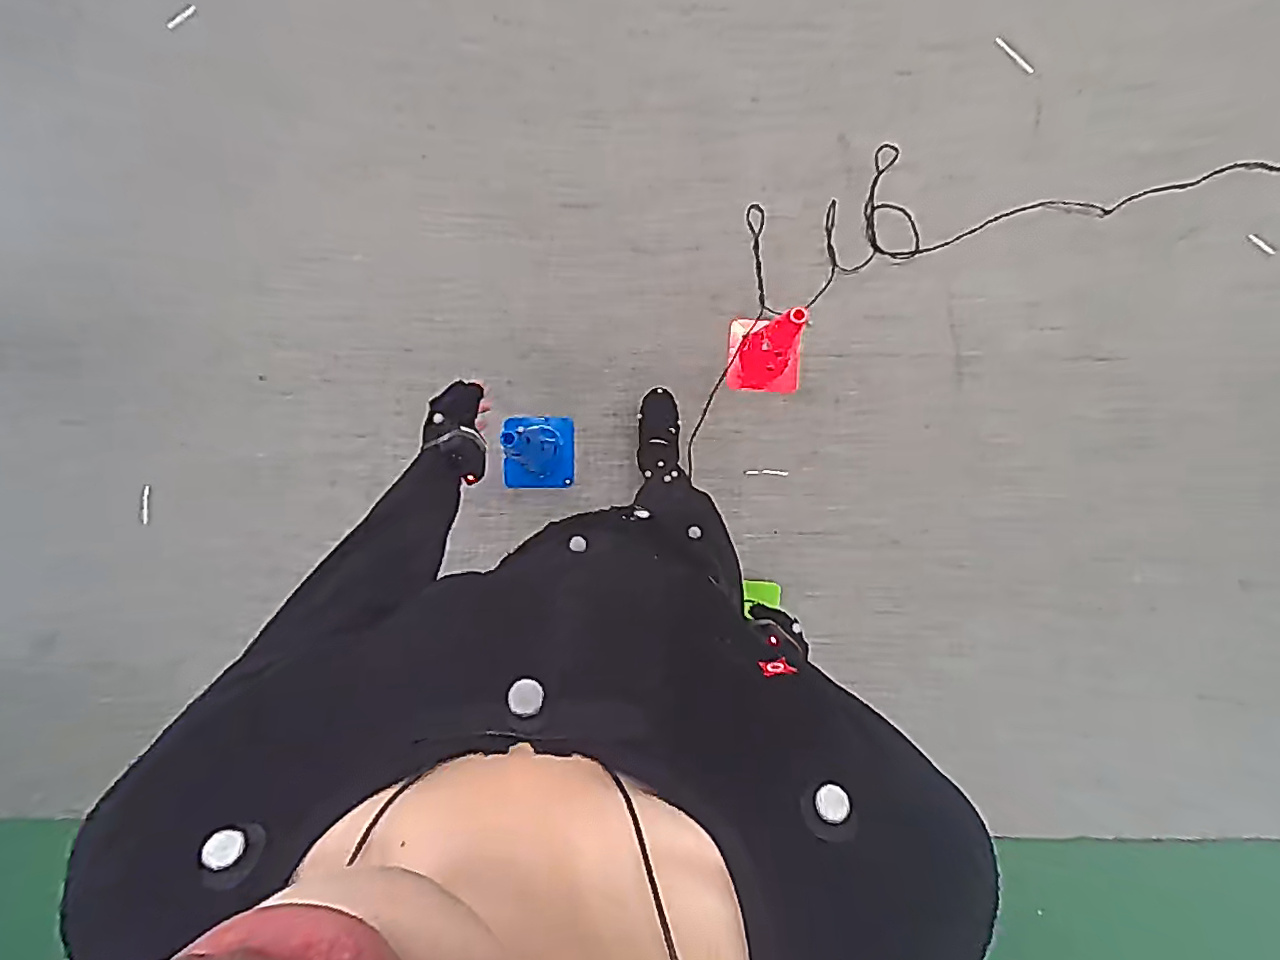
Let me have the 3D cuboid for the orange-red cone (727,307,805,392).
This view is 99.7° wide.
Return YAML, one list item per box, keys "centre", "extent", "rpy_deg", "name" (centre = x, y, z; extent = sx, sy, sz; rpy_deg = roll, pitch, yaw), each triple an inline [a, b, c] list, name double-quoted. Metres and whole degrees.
- centre: [0.346, -0.353, 1.346]
  extent: [0.198, 0.360, 0.199]
  rpy_deg: [6, 90, 1]
  name: "orange-red cone"

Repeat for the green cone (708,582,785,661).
- centre: [0.291, 0.377, 1.320]
  extent: [0.200, 0.368, 0.202]
  rpy_deg: [3, 87, 0]
  name: "green cone"
